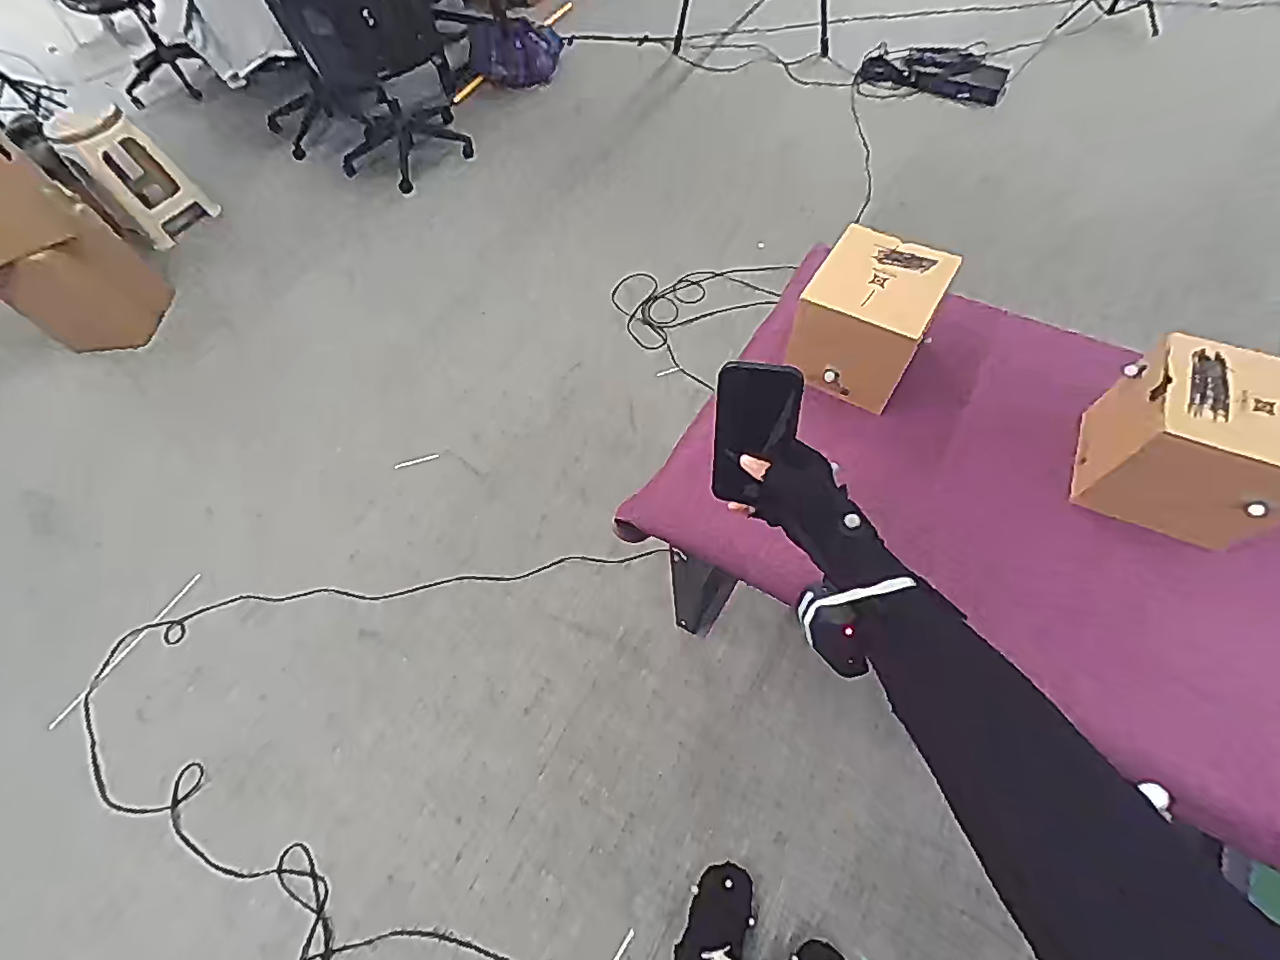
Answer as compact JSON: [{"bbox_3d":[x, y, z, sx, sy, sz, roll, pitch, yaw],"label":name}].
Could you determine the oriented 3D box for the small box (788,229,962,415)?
[{"bbox_3d":[0.339,-0.233,0.812,0.168,0.176,0.179,29,68,20],"label":"small box"}]
